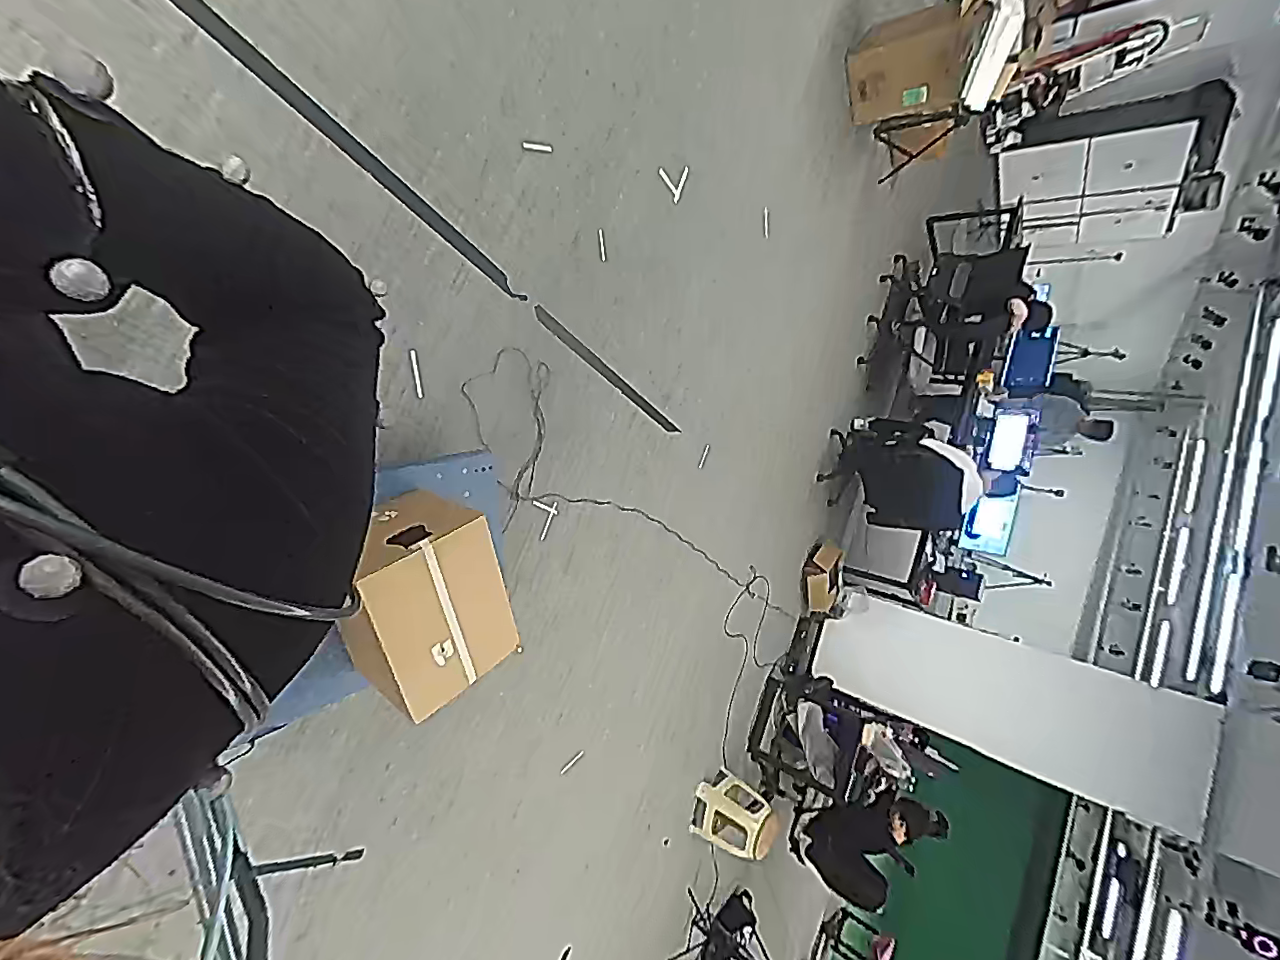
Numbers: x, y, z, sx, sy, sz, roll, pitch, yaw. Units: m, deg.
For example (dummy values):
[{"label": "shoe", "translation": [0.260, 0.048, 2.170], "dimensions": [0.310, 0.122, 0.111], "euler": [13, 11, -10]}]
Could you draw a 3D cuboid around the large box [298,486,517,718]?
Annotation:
[{"label": "large box", "translation": [-0.559, 0.278, 1.335], "dimensions": [0.320, 0.320, 0.408], "euler": [-31, 124, -41]}]
